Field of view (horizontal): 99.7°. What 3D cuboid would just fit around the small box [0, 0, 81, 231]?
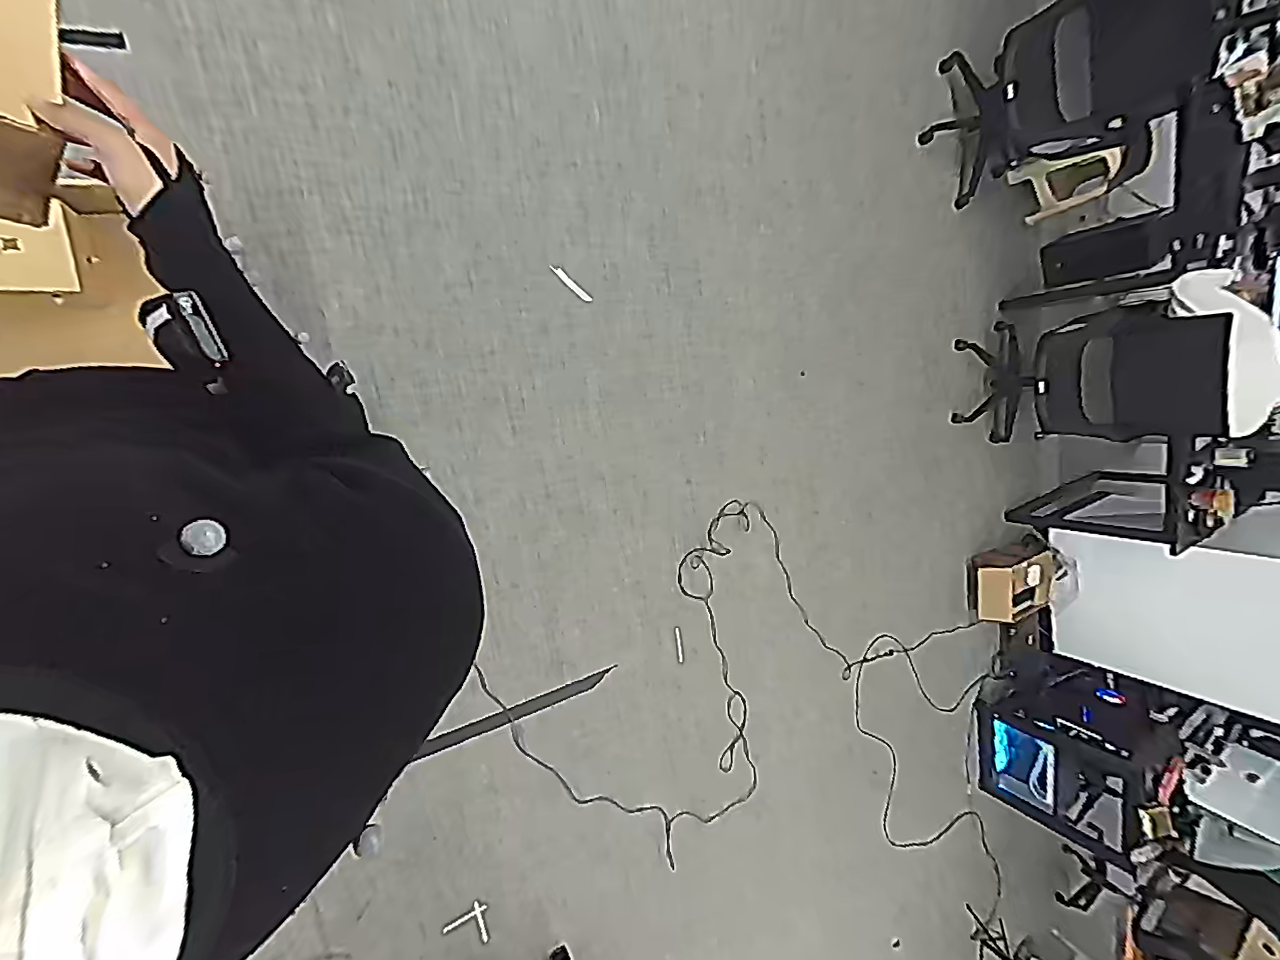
[{"bbox_3d":[-0.556,-0.326,0.408,0.168,0.176,0.179,-5,87,-52],"label":"small box"}]
